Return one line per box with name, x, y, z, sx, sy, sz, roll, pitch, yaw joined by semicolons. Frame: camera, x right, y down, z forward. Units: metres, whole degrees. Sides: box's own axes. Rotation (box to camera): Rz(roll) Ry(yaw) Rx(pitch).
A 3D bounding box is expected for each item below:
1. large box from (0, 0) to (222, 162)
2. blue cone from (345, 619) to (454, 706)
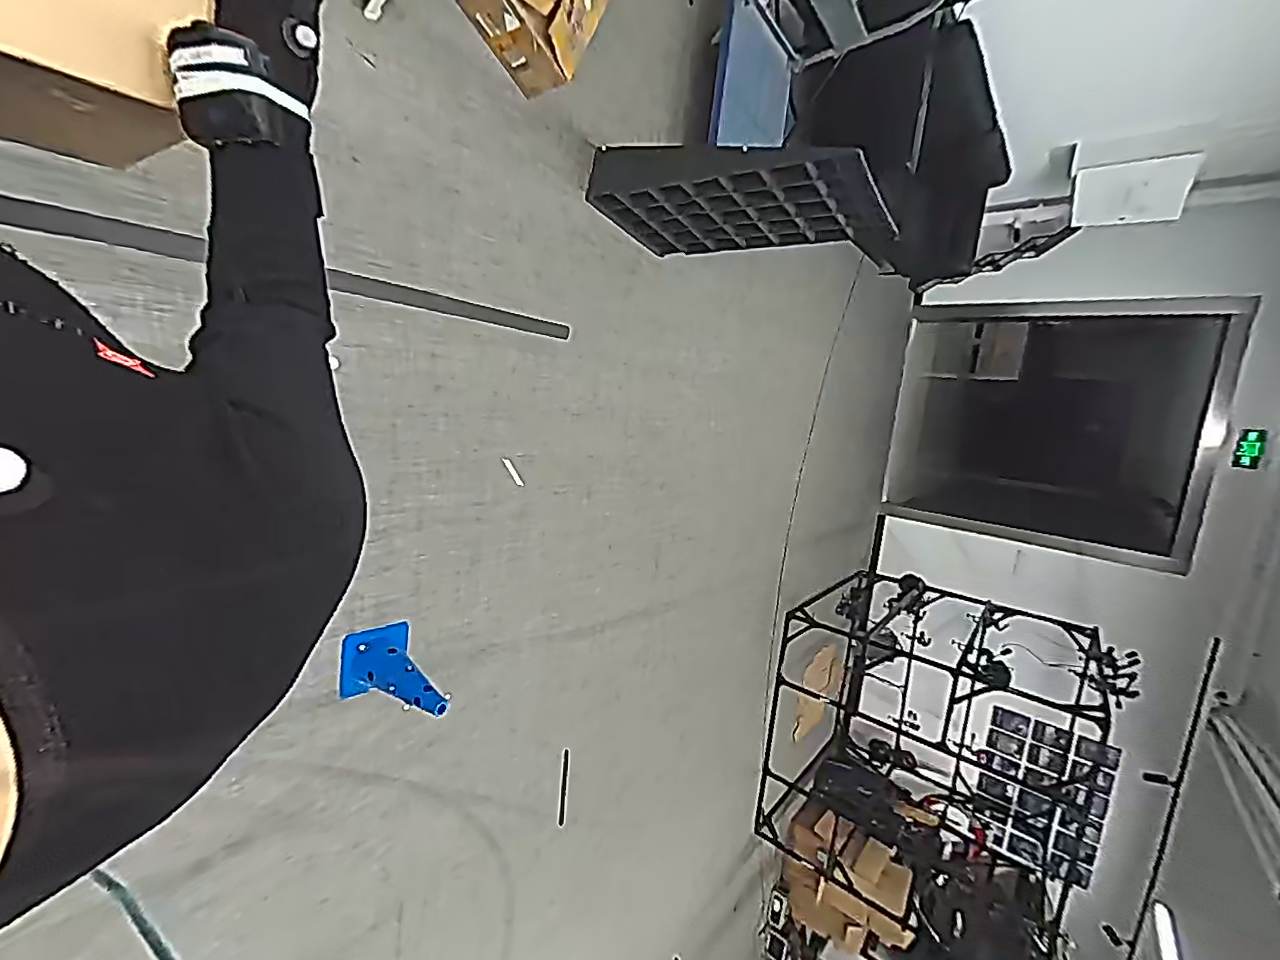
large box;-0.534;-0.426;0.298;0.408;0.320;0.320;-10;111;-53
blue cone;-0.668;0.558;1.548;0.192;0.380;0.193;0;100;-54
